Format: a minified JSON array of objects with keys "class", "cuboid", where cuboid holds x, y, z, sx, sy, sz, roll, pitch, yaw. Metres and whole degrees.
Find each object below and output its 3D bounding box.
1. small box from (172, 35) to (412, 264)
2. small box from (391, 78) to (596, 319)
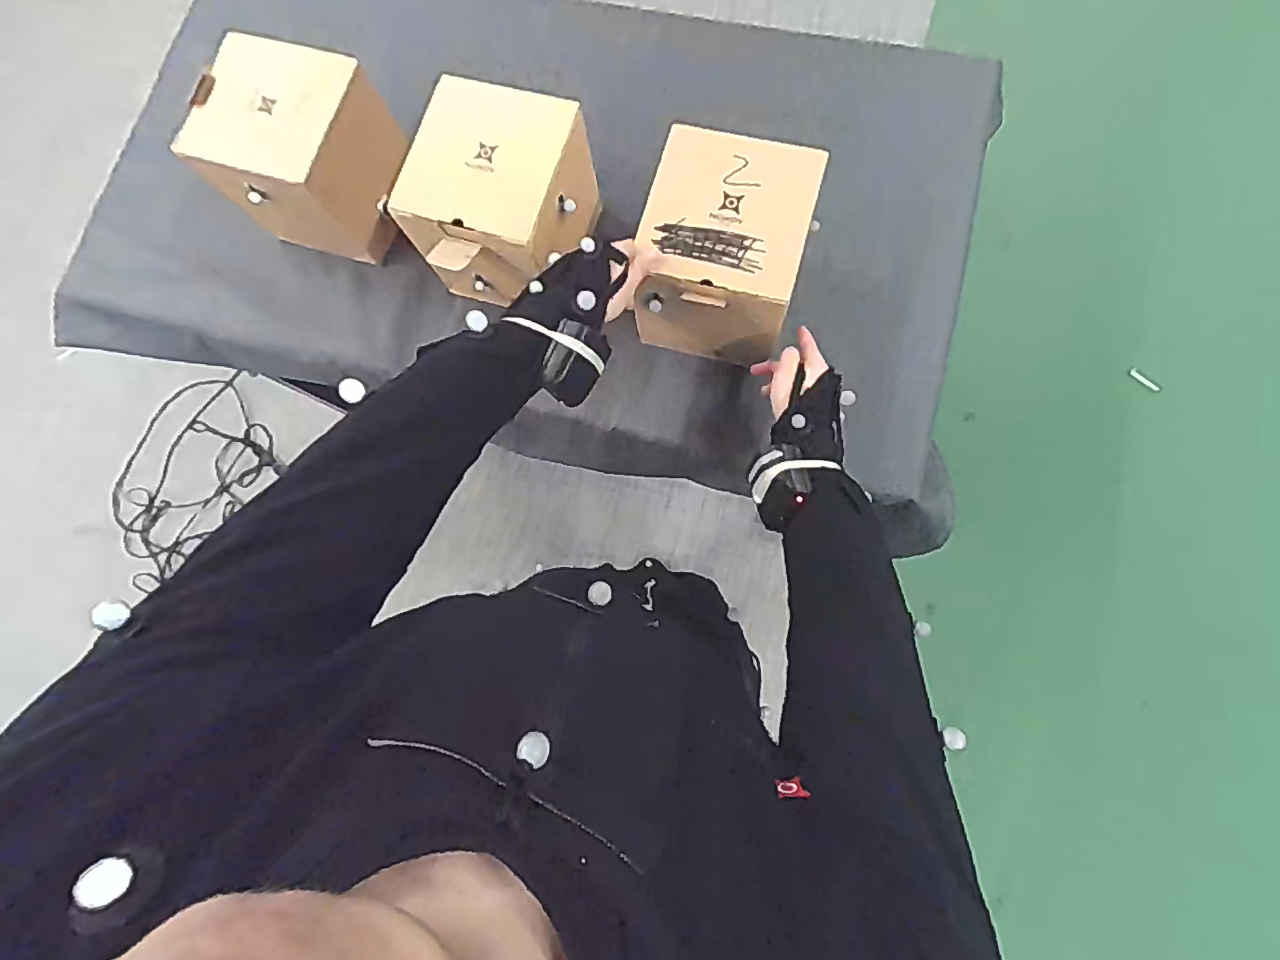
[{"class":"small box","cuboid":[-0.415,-0.404,0.687,0.179,0.176,0.168,18,82,6]},{"class":"small box","cuboid":[-0.159,-0.327,0.655,0.168,0.176,0.179,16,82,7]}]
